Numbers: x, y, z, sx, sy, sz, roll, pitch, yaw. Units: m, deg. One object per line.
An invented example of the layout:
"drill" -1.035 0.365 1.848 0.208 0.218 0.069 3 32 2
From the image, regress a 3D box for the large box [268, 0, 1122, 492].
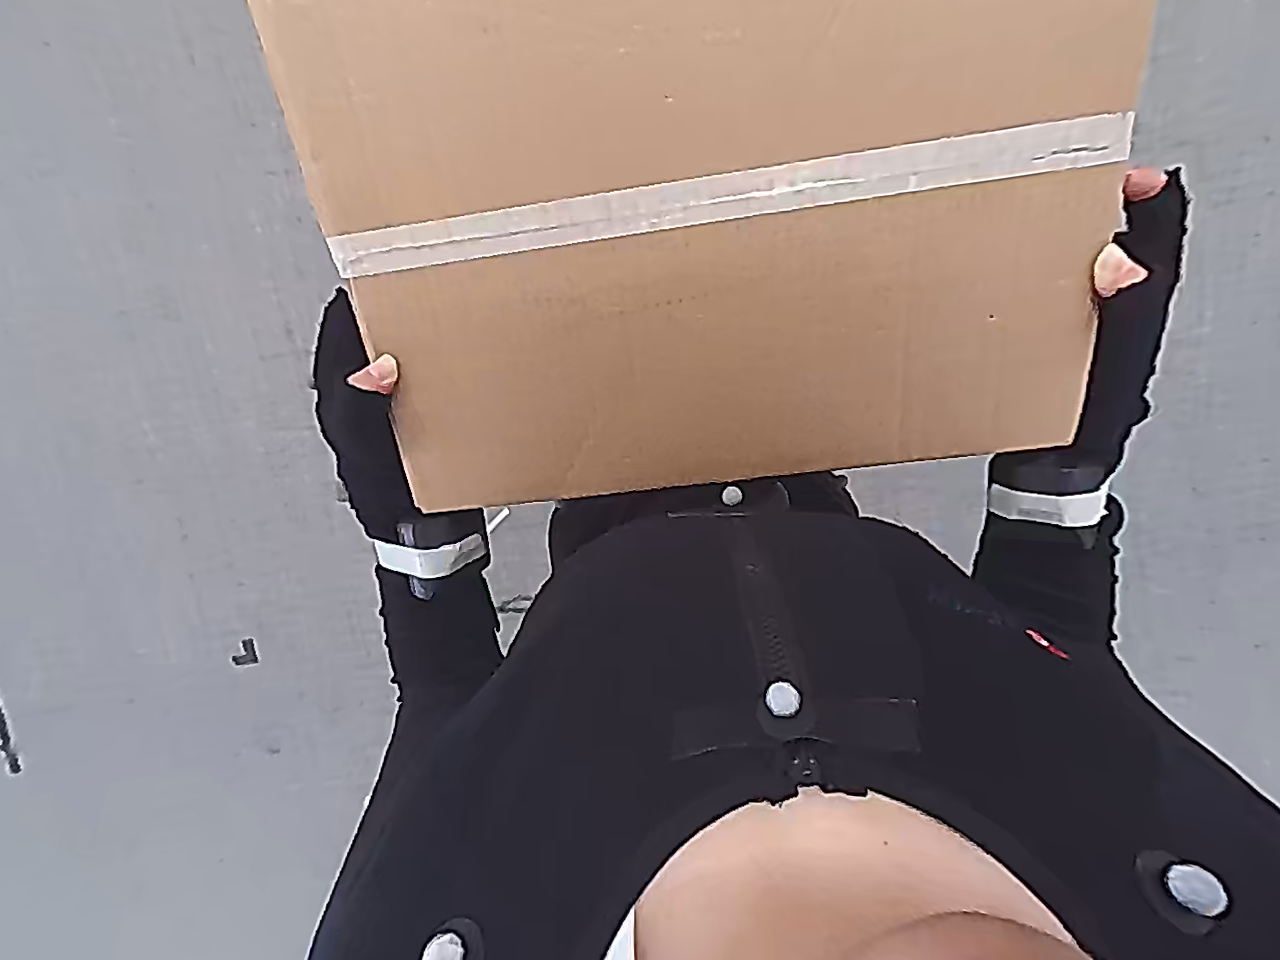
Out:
"large box" 0.035 -0.212 0.424 0.408 0.320 0.320 -6 114 4
